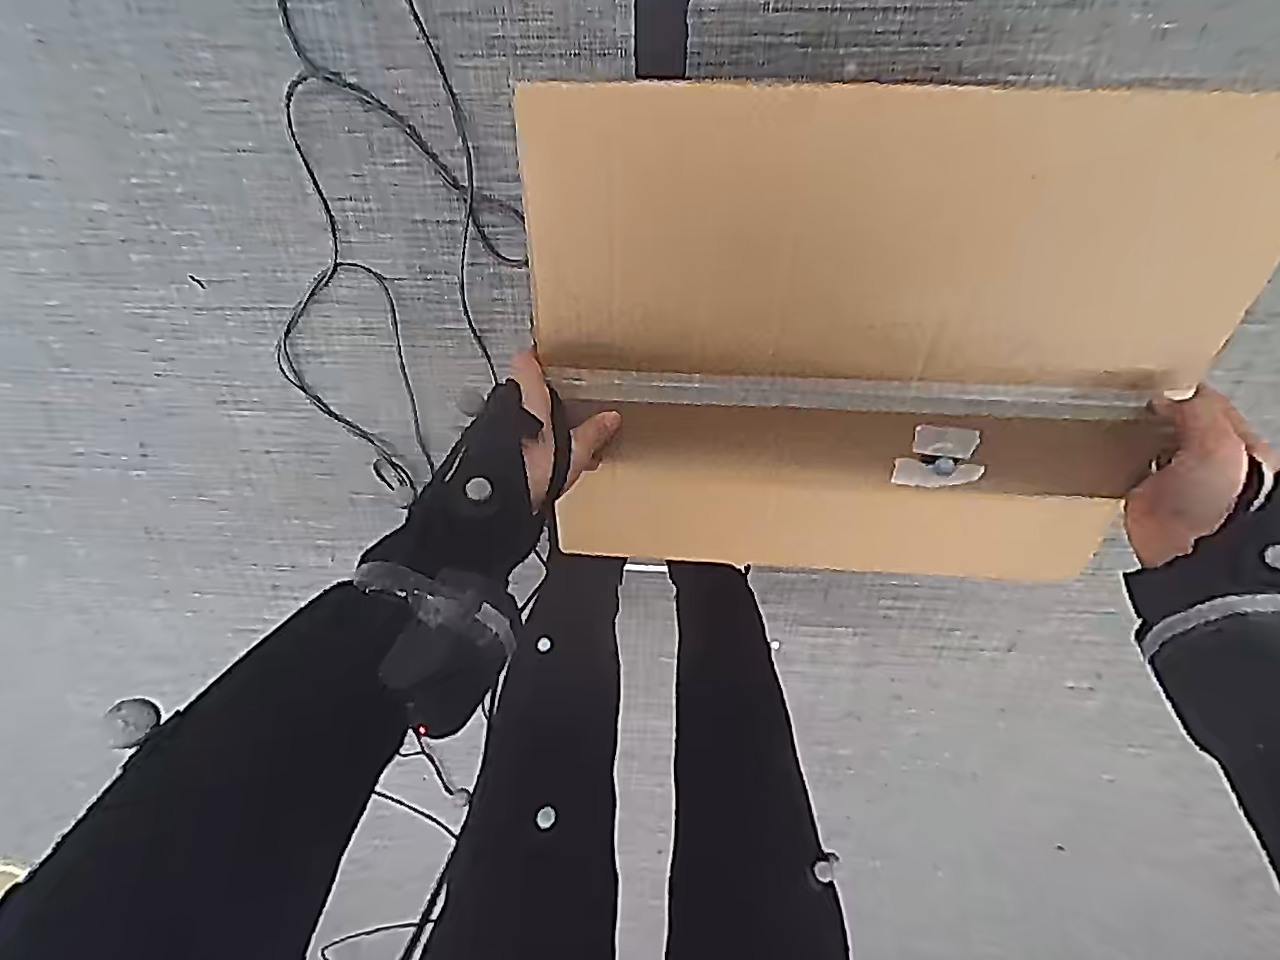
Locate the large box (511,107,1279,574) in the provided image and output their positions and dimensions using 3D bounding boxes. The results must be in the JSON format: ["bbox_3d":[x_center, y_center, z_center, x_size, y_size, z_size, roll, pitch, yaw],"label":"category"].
[{"bbox_3d":[0.137,-0.138,0.478,0.408,0.320,0.320,2,126,3],"label":"large box"}]
